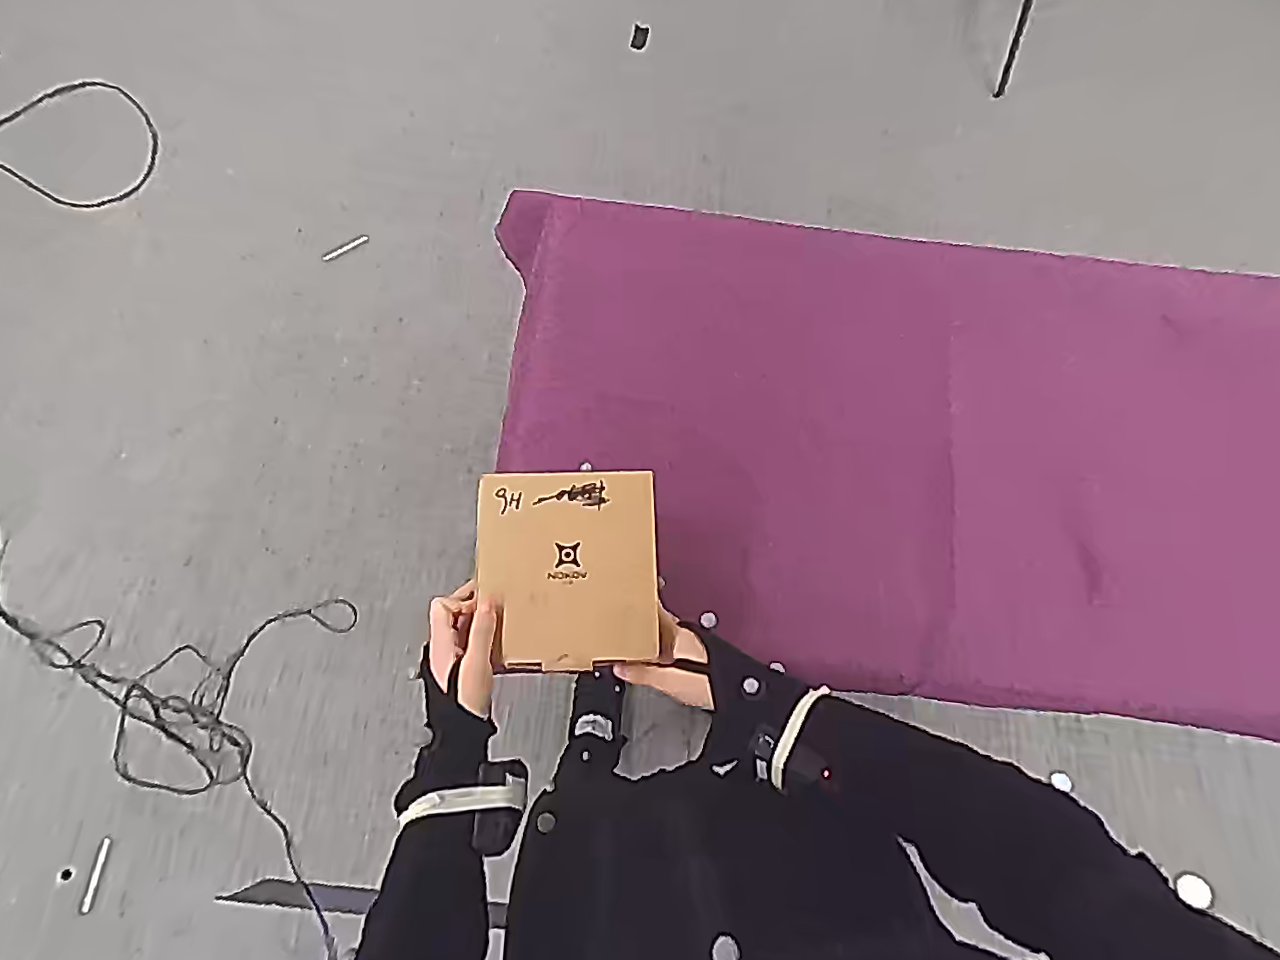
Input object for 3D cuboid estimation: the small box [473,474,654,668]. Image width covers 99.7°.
[{"bbox_3d":[-0.071,0.096,0.574,0.168,0.176,0.179,-1,77,-3],"label":"small box"}]
